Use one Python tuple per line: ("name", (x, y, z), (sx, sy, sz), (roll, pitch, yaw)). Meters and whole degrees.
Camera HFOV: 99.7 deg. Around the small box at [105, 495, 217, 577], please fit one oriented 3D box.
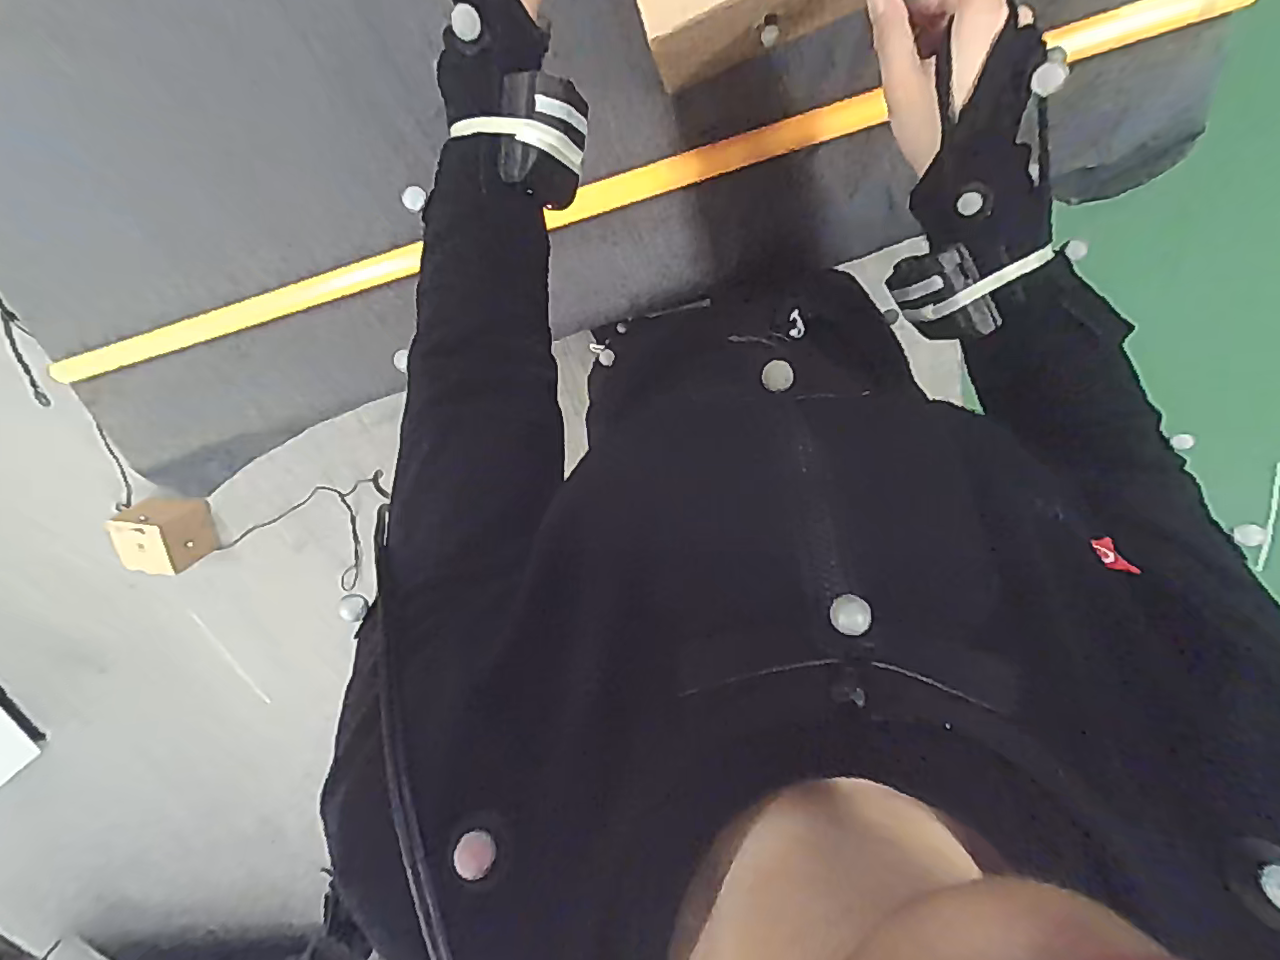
("small box", (-1.436, 0.167, 1.637), (0.168, 0.176, 0.179), (7, 116, 5))
